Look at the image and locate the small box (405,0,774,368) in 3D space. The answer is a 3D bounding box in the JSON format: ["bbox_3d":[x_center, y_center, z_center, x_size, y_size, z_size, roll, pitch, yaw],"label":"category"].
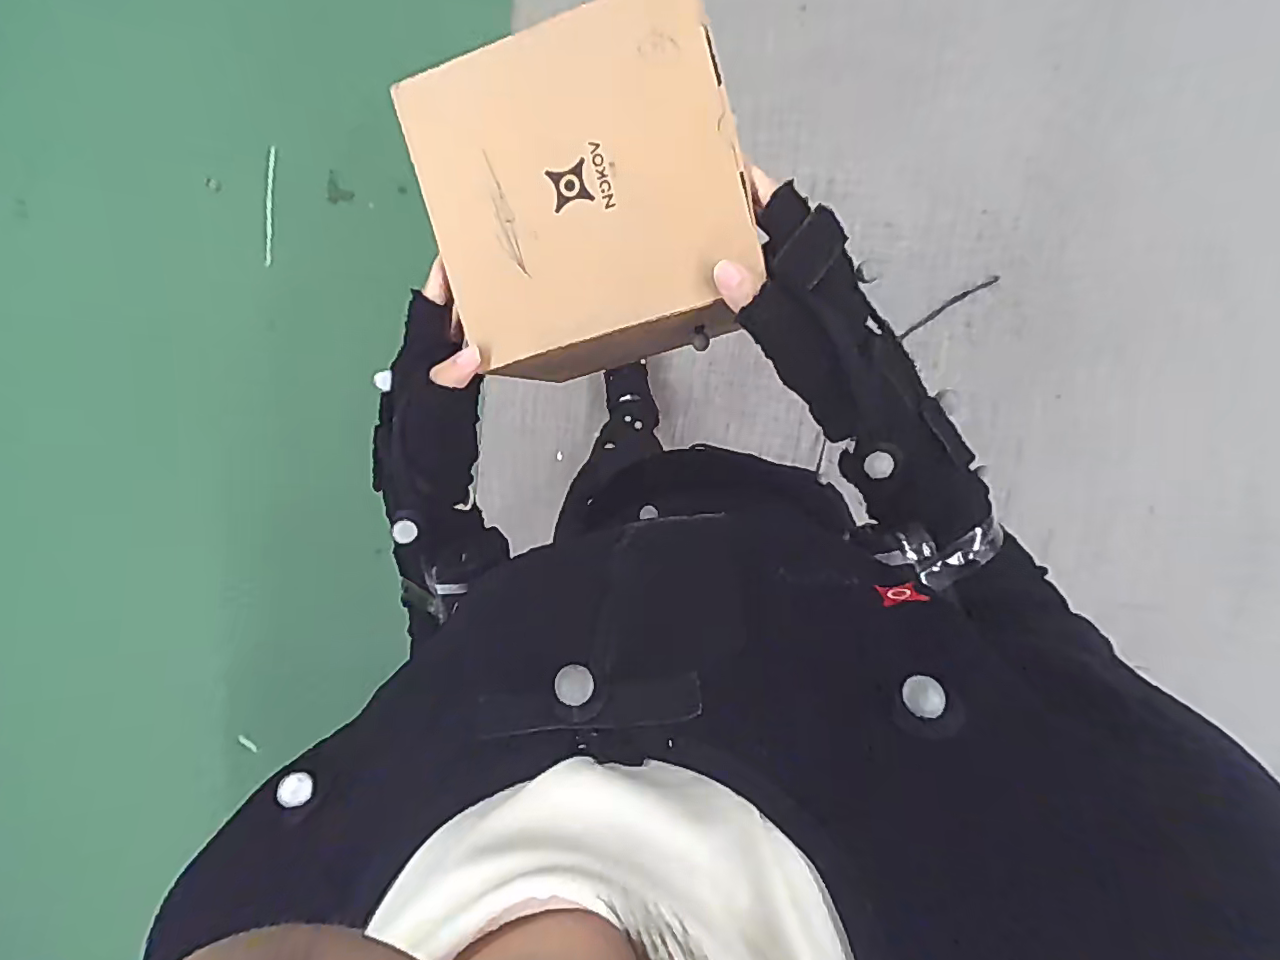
[{"bbox_3d":[-0.019,-0.182,0.373,0.179,0.176,0.168,-14,95,11],"label":"small box"}]
